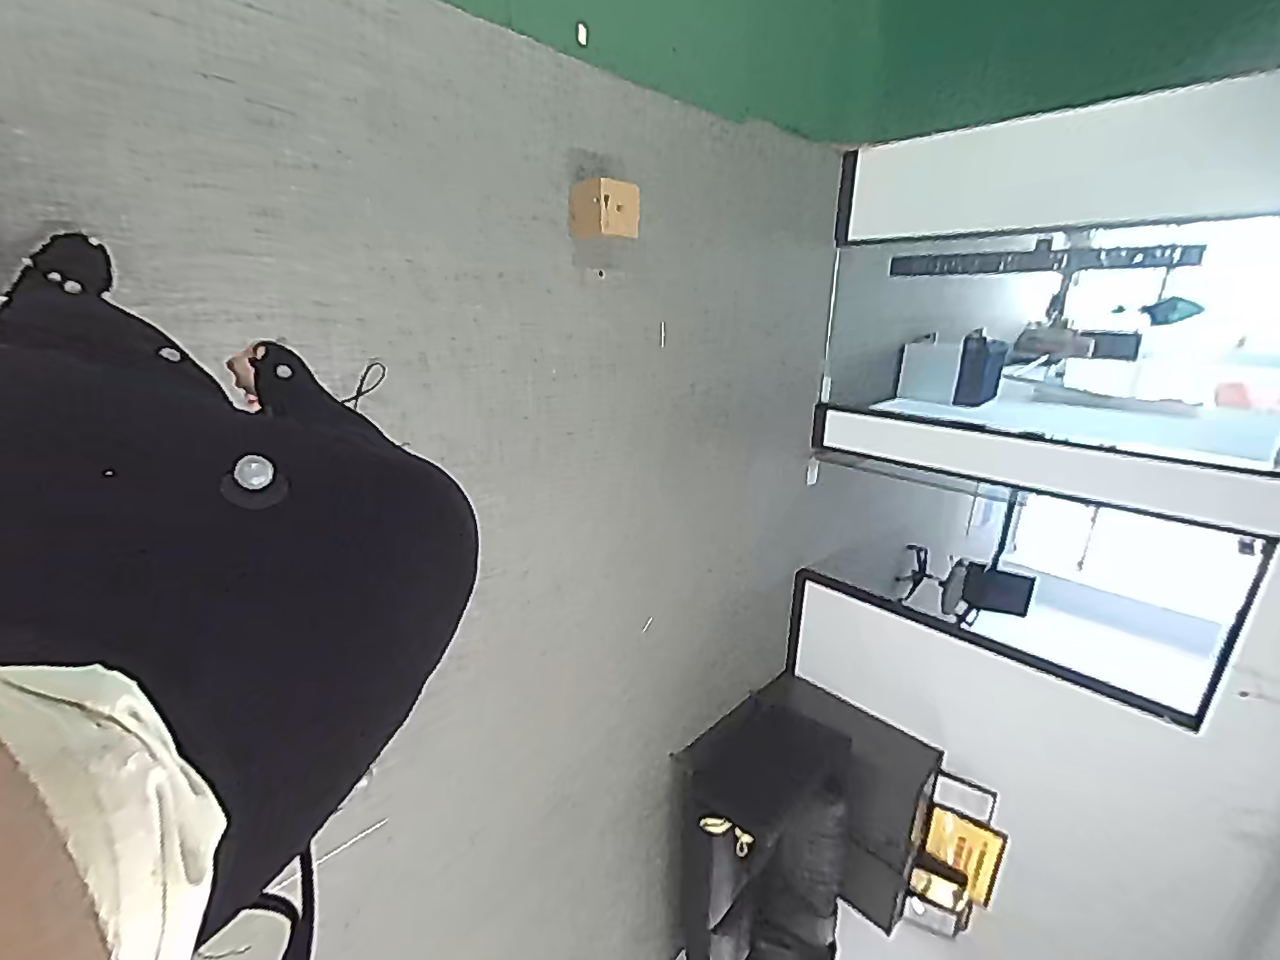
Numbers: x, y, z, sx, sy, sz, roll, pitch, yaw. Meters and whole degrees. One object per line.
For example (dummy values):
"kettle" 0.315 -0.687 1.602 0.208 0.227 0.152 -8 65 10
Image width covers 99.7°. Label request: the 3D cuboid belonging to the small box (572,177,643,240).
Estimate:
"small box" -0.112 -0.924 1.854 0.179 0.176 0.168 -16 114 -43
